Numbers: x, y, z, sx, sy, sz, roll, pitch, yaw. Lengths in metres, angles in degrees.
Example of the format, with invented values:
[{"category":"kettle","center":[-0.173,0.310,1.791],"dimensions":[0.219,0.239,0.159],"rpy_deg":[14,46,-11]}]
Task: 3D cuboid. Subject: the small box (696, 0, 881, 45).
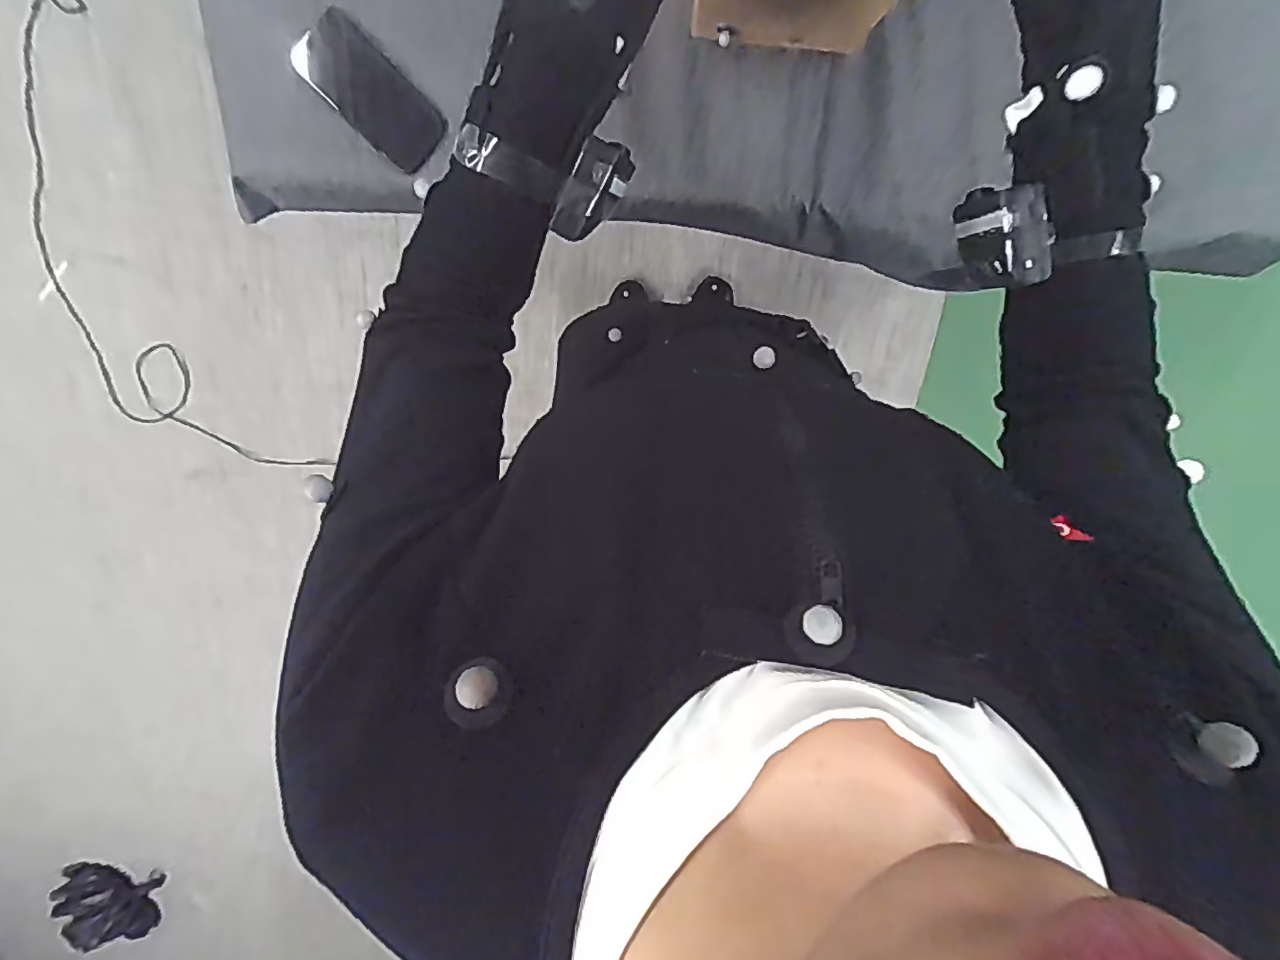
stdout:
[{"category":"small box","center":[0.140,-0.498,0.446],"dimensions":[0.168,0.176,0.179],"rpy_deg":[6,110,-1]}]
